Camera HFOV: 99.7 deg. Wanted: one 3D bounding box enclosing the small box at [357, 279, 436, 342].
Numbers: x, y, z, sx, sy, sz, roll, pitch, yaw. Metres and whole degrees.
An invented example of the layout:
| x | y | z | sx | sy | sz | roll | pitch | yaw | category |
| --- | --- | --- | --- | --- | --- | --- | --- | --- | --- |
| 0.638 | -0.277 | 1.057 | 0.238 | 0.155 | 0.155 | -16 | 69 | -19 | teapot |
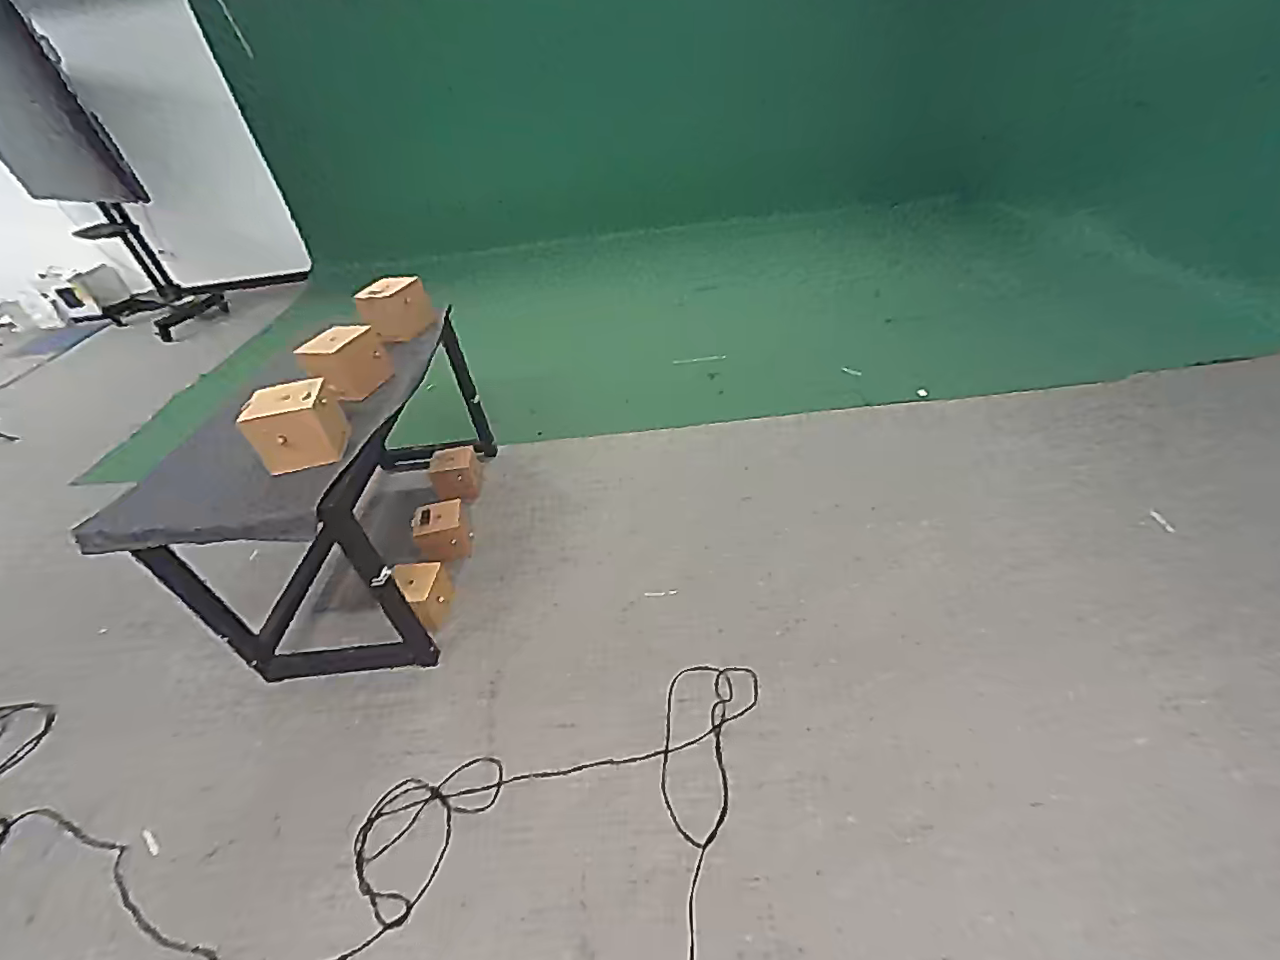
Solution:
| x | y | z | sx | sy | sz | roll | pitch | yaw | category |
| --- | --- | --- | --- | --- | --- | --- | --- | --- | --- |
| -0.882 | -0.619 | 1.981 | 0.168 | 0.176 | 0.179 | 6 | 43 | 20 | small box |

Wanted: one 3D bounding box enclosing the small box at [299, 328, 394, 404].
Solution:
| x | y | z | sx | sy | sz | roll | pitch | yaw | category |
| --- | --- | --- | --- | --- | --- | --- | --- | --- | --- |
| -0.900 | -0.358 | 1.683 | 0.168 | 0.176 | 0.179 | 5 | 43 | 20 | small box |

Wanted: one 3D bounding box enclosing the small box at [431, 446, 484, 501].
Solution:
| x | y | z | sx | sy | sz | roll | pitch | yaw | category |
| --- | --- | --- | --- | --- | --- | --- | --- | --- | --- |
| -0.805 | -0.026 | 2.406 | 0.179 | 0.176 | 0.168 | -9 | 39 | -1 | small box |

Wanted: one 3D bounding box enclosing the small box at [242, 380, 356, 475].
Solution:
| x | y | z | sx | sy | sz | roll | pitch | yaw | category |
| --- | --- | --- | --- | --- | --- | --- | --- | --- | --- |
| -0.882 | -0.135 | 1.416 | 0.179 | 0.176 | 0.168 | -14 | 40 | -7 | small box |

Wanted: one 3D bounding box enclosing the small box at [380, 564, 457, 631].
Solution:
| x | y | z | sx | sy | sz | roll | pitch | yaw | category |
| --- | --- | --- | --- | --- | --- | --- | --- | --- | --- |
| -0.763 | 0.412 | 1.888 | 0.179 | 0.176 | 0.168 | -4 | 40 | 6 | small box |
